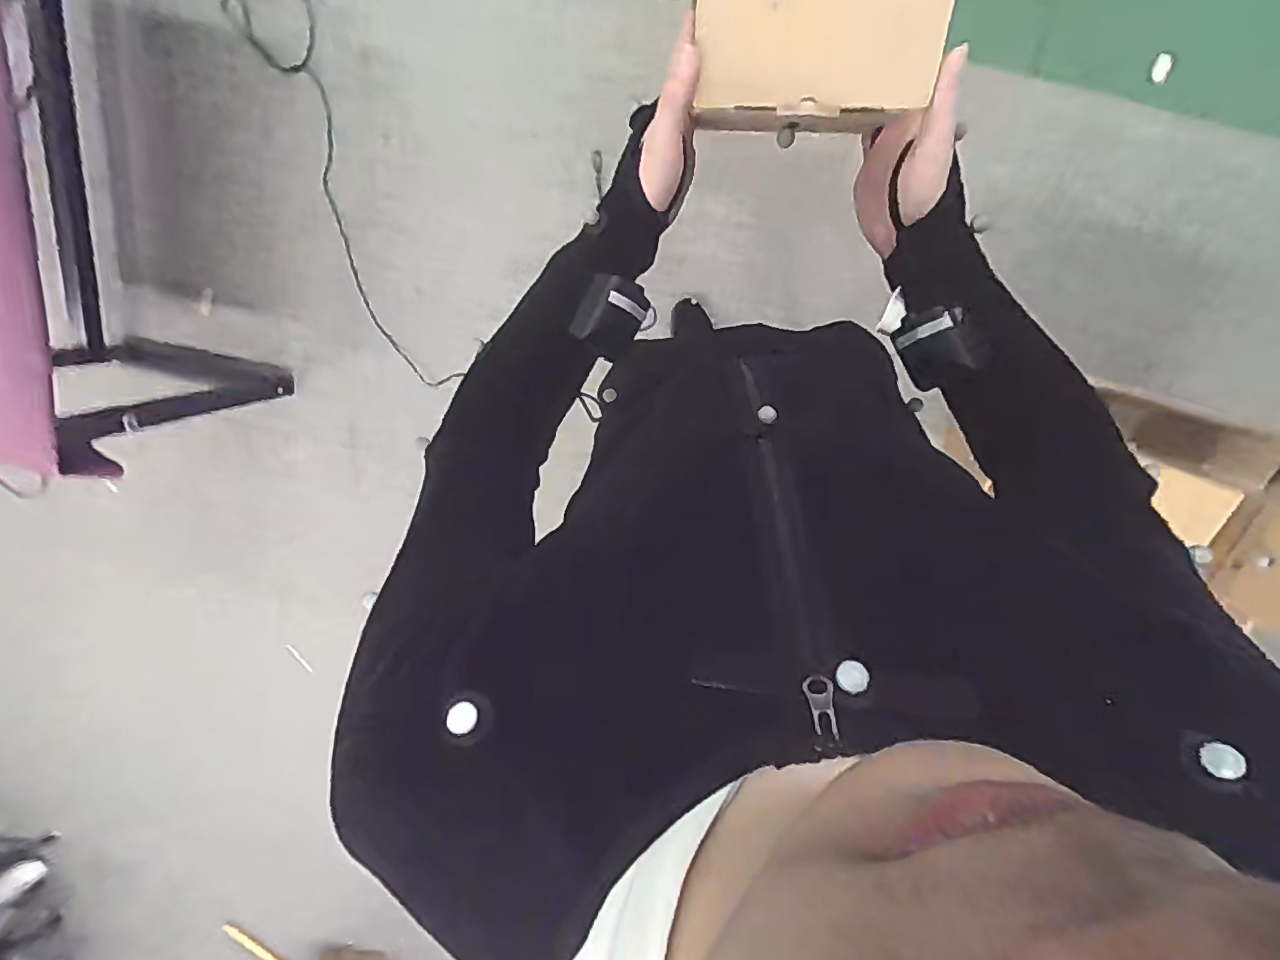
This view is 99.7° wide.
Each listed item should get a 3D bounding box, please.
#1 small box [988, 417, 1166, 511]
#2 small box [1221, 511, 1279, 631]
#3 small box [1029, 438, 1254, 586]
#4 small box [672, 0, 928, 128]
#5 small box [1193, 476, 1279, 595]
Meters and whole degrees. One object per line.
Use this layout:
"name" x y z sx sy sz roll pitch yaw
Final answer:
"small box" 0.824 -0.013 1.045 0.179 0.176 0.168 17 110 -1
"small box" 0.992 0.153 0.739 0.179 0.176 0.168 16 109 4
"small box" 0.803 0.042 0.893 0.179 0.176 0.168 19 110 -1
"small box" 0.113 -0.374 0.409 0.168 0.176 0.179 2 120 5
"small box" 1.029 0.108 0.894 0.179 0.176 0.168 18 110 3
